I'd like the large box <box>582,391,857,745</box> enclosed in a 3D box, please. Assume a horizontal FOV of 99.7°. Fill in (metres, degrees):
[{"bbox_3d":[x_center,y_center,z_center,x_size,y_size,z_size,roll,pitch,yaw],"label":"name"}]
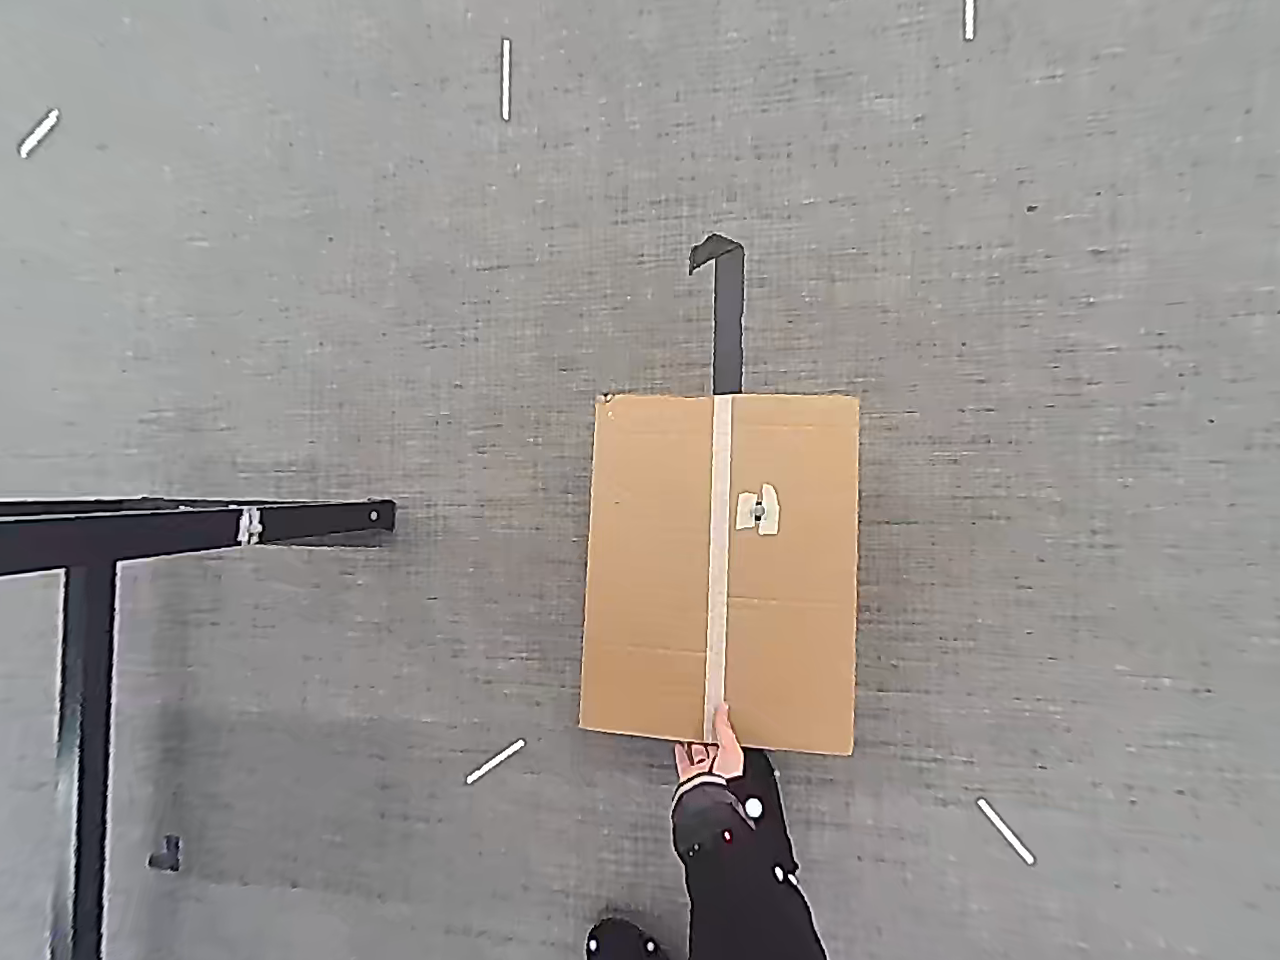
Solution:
[{"bbox_3d":[0.114,0.108,0.776,0.320,0.320,0.408,2,84,8],"label":"large box"}]
